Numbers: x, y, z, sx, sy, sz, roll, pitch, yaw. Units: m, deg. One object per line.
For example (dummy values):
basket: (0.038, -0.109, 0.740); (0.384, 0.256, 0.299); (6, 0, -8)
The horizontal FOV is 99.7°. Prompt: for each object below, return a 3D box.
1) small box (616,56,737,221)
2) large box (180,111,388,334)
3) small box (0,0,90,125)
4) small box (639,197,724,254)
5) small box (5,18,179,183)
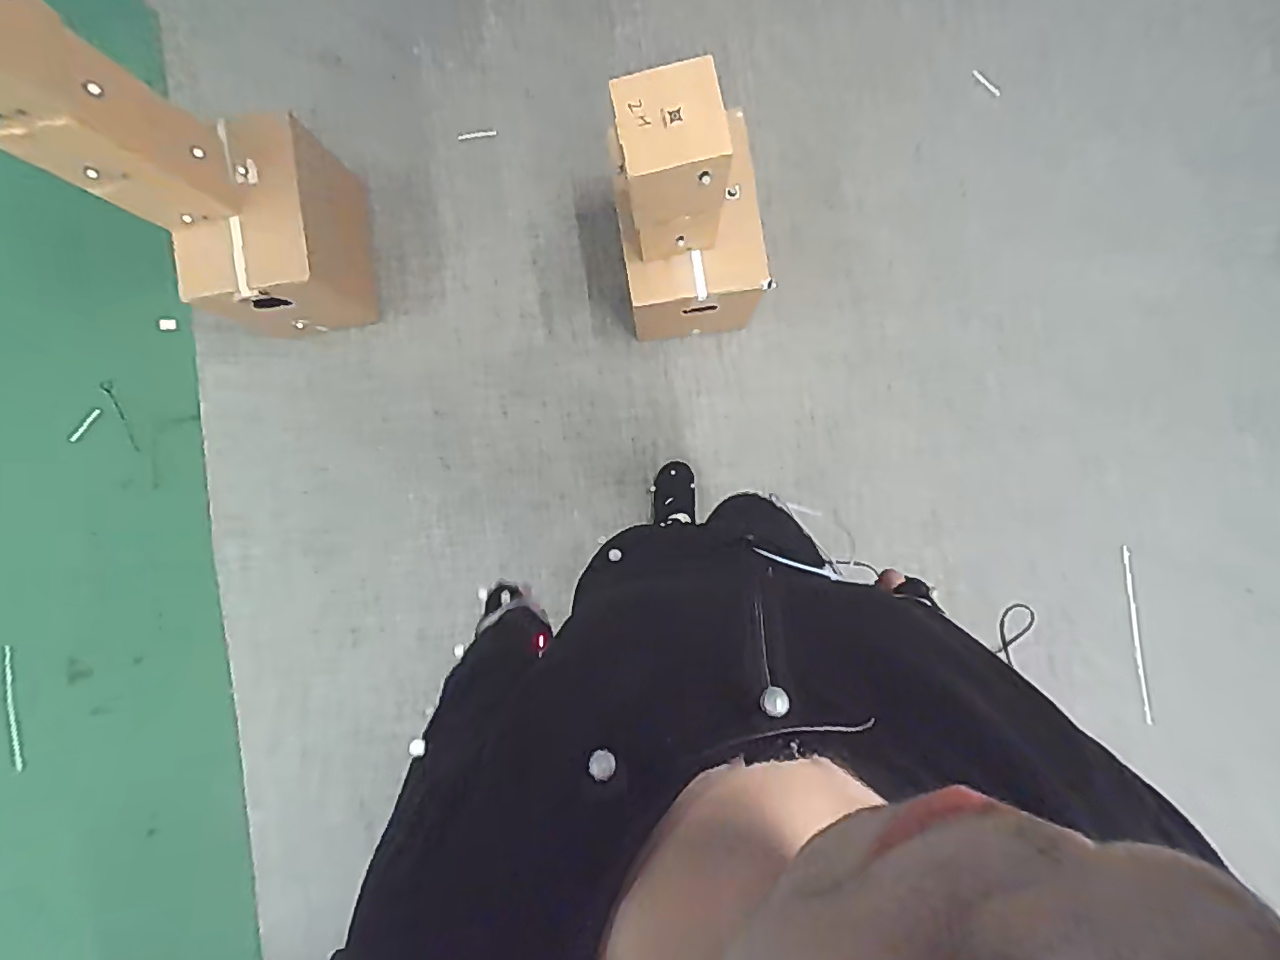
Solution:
small box: (0.064, -0.591, 0.958); (0.179, 0.176, 0.168); (-11, 88, 4)
large box: (-0.901, -0.640, 1.408); (0.320, 0.320, 0.408); (-8, 88, 3)
small box: (-1.025, -0.703, 0.845); (0.168, 0.176, 0.179); (-6, 90, 6)
small box: (0.076, -0.592, 1.124); (0.168, 0.176, 0.179); (-11, 89, 4)
small box: (-1.014, -0.693, 1.007); (0.168, 0.176, 0.179); (-8, 89, 5)
